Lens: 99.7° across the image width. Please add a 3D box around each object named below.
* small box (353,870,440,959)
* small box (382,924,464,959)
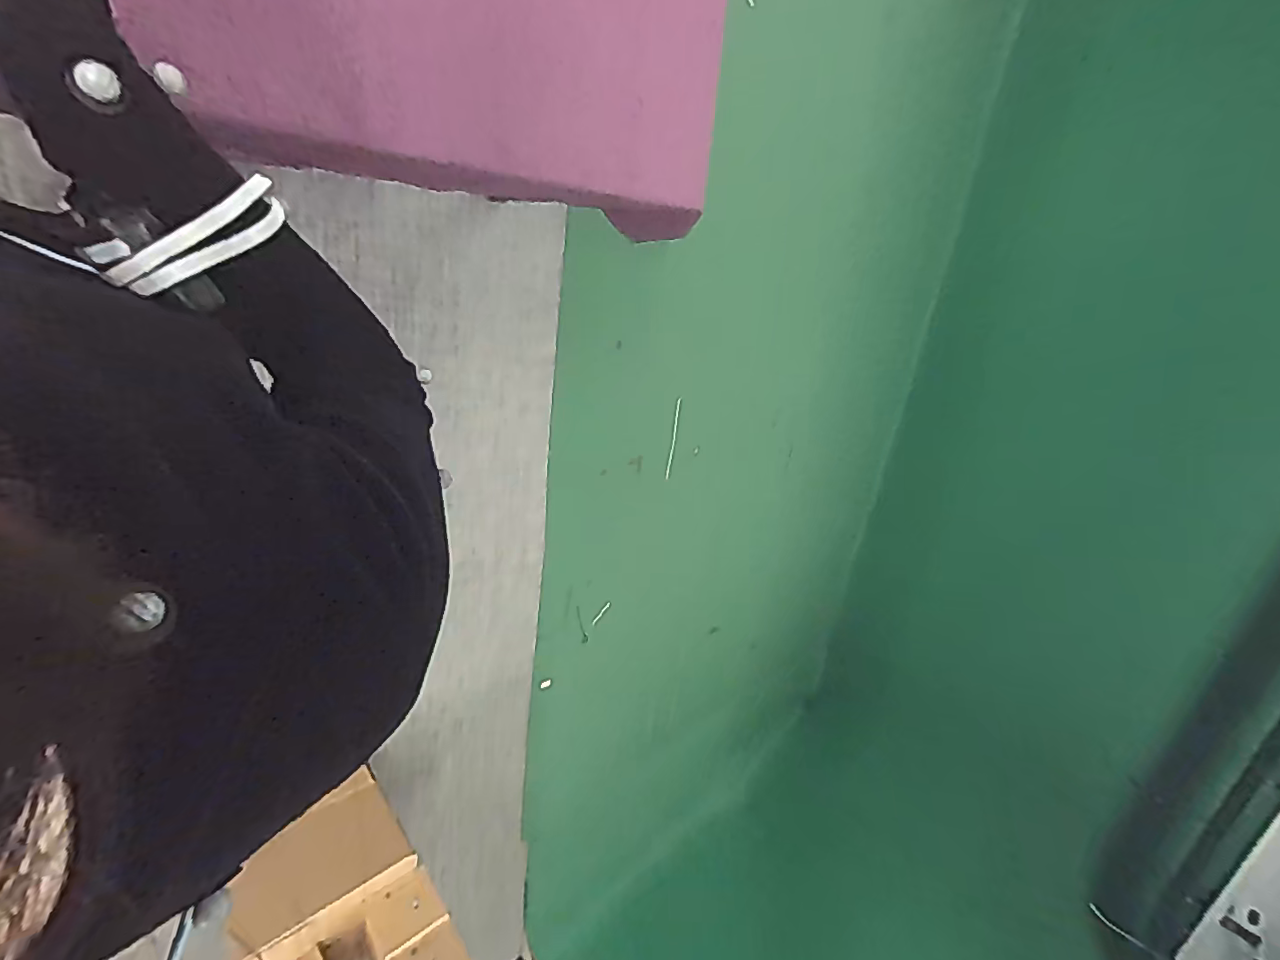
[{"bbox_3d":[-0.651,1.191,1.438,0.168,0.176,0.179,-11,118,-43],"label":"small box"},{"bbox_3d":[-0.539,1.260,1.338,0.168,0.176,0.179,-8,116,-44],"label":"small box"}]
